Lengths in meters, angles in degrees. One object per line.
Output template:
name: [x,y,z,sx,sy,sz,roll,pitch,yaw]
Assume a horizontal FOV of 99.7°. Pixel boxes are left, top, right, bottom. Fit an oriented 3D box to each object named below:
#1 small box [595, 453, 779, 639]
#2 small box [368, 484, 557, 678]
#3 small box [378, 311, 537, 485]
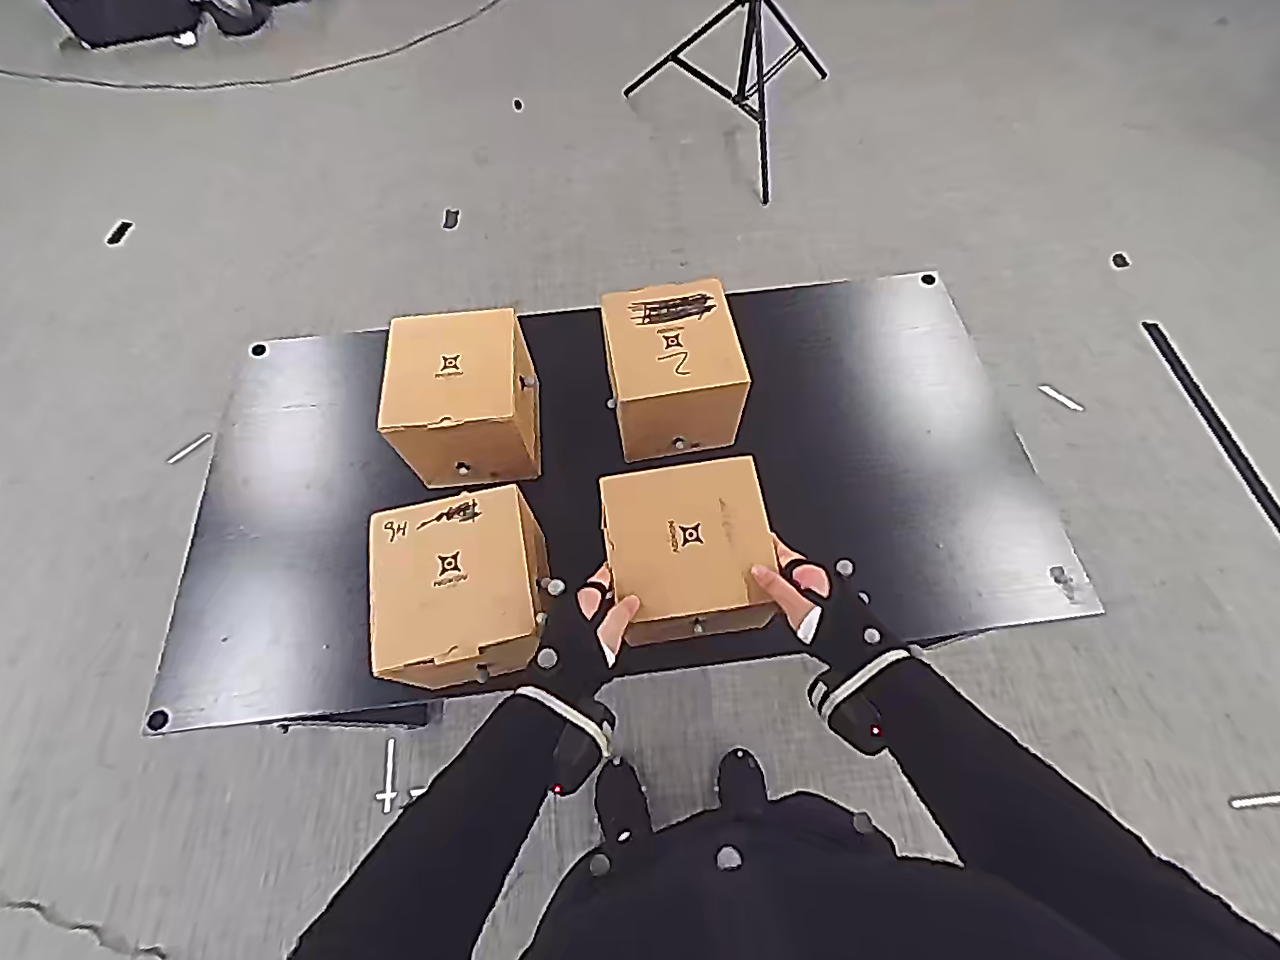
small box: [0.050,0.087,0.646,0.179,0.176,0.168,-9,67,0]
small box: [-0.202,0.130,0.645,0.168,0.176,0.179,-12,65,-4]
small box: [-0.243,-0.110,0.763,0.168,0.176,0.179,-6,65,-1]
